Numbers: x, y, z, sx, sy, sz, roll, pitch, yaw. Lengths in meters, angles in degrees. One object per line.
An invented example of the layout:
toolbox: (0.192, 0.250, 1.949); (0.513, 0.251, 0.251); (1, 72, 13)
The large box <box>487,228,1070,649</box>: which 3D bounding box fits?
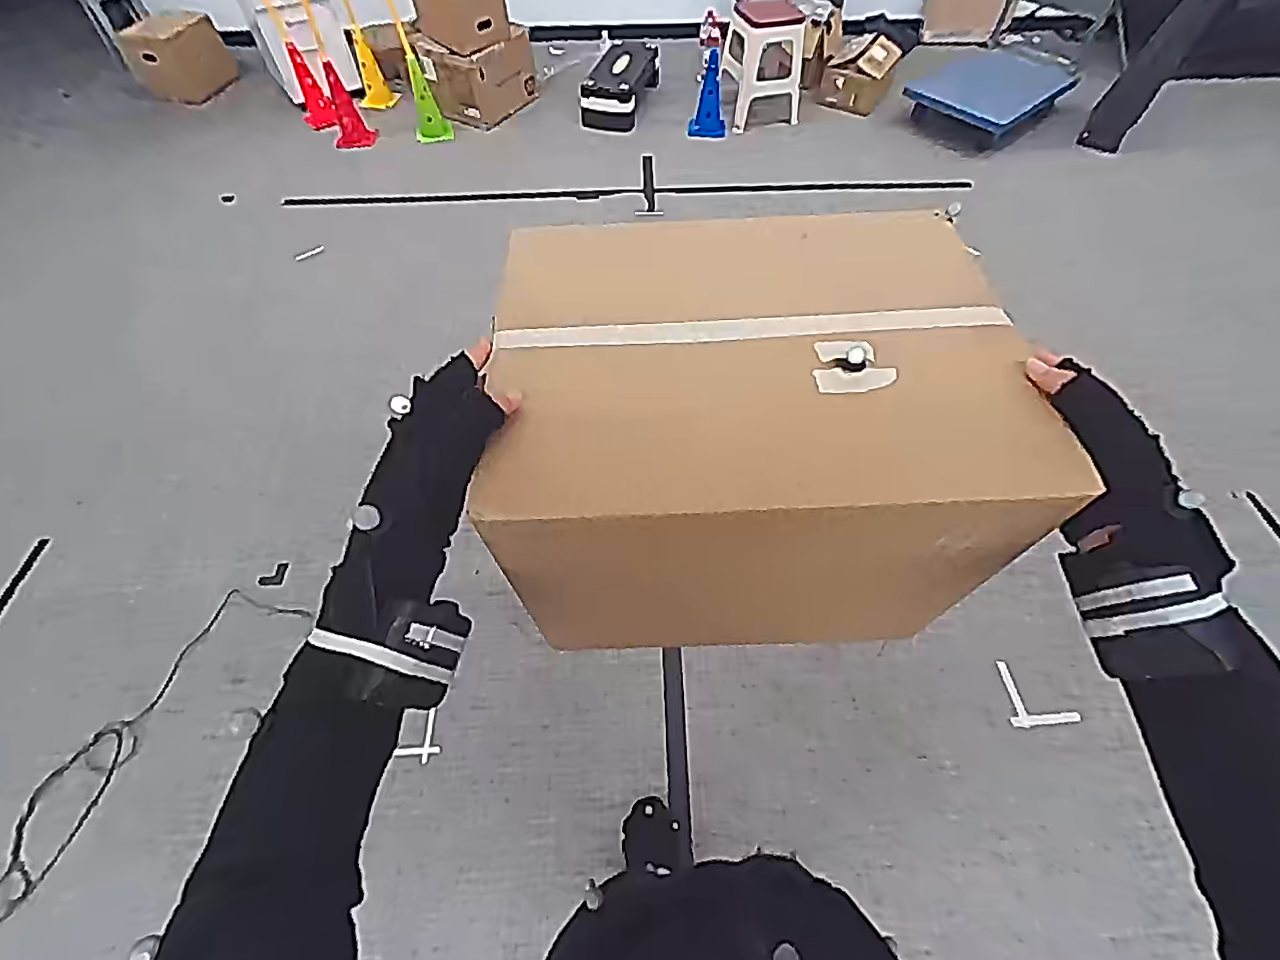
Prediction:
large box: (0.088, -0.027, 0.565); (0.408, 0.320, 0.320); (-2, 58, 0)
